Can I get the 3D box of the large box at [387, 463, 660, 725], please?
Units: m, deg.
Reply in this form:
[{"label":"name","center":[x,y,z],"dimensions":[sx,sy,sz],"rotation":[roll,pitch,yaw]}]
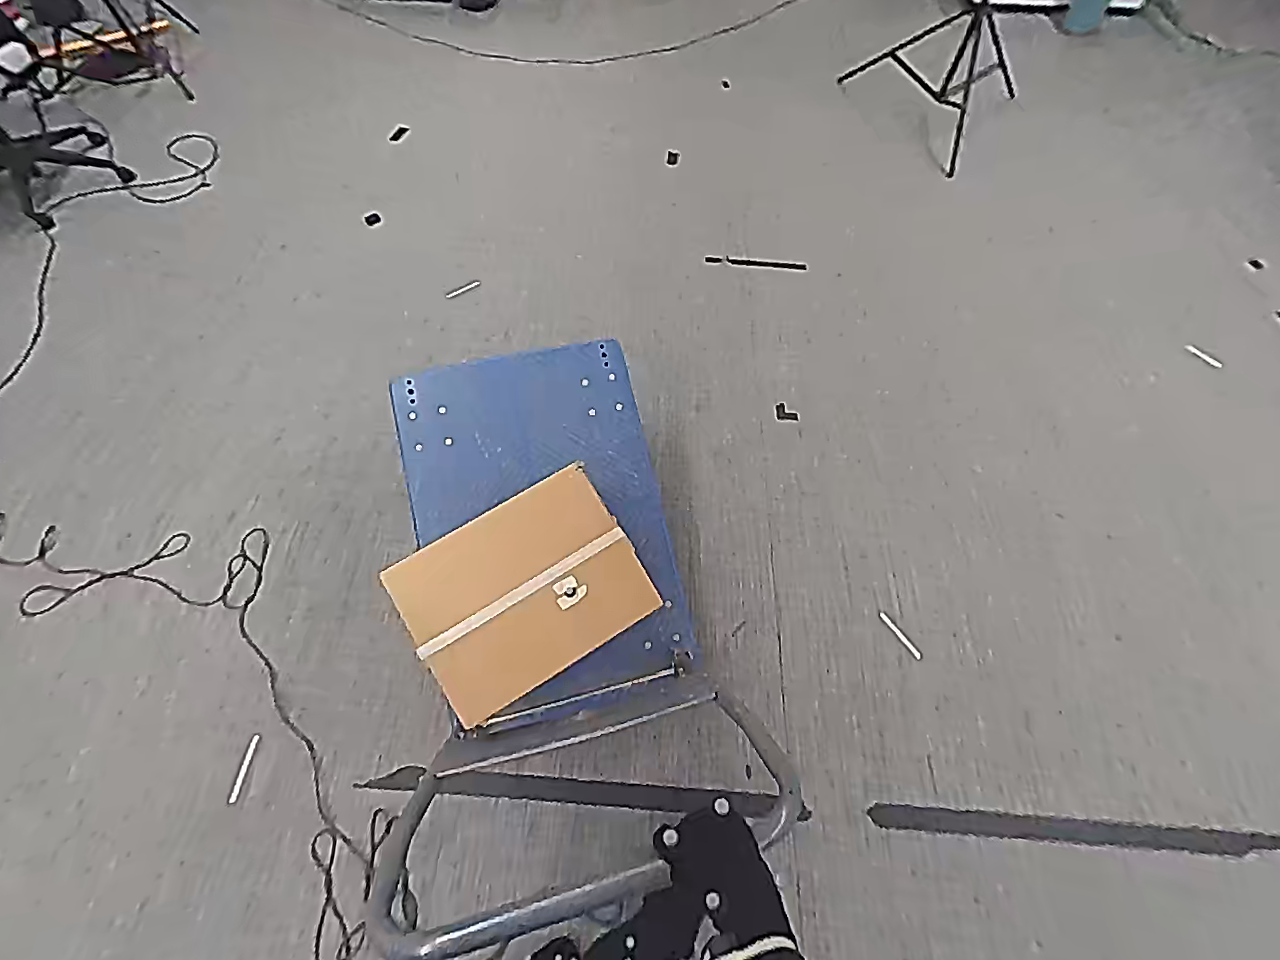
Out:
[{"label":"large box","center":[-0.223,0.223,1.119],"dimensions":[0.408,0.320,0.320],"rotation":[-31,85,-12]}]
